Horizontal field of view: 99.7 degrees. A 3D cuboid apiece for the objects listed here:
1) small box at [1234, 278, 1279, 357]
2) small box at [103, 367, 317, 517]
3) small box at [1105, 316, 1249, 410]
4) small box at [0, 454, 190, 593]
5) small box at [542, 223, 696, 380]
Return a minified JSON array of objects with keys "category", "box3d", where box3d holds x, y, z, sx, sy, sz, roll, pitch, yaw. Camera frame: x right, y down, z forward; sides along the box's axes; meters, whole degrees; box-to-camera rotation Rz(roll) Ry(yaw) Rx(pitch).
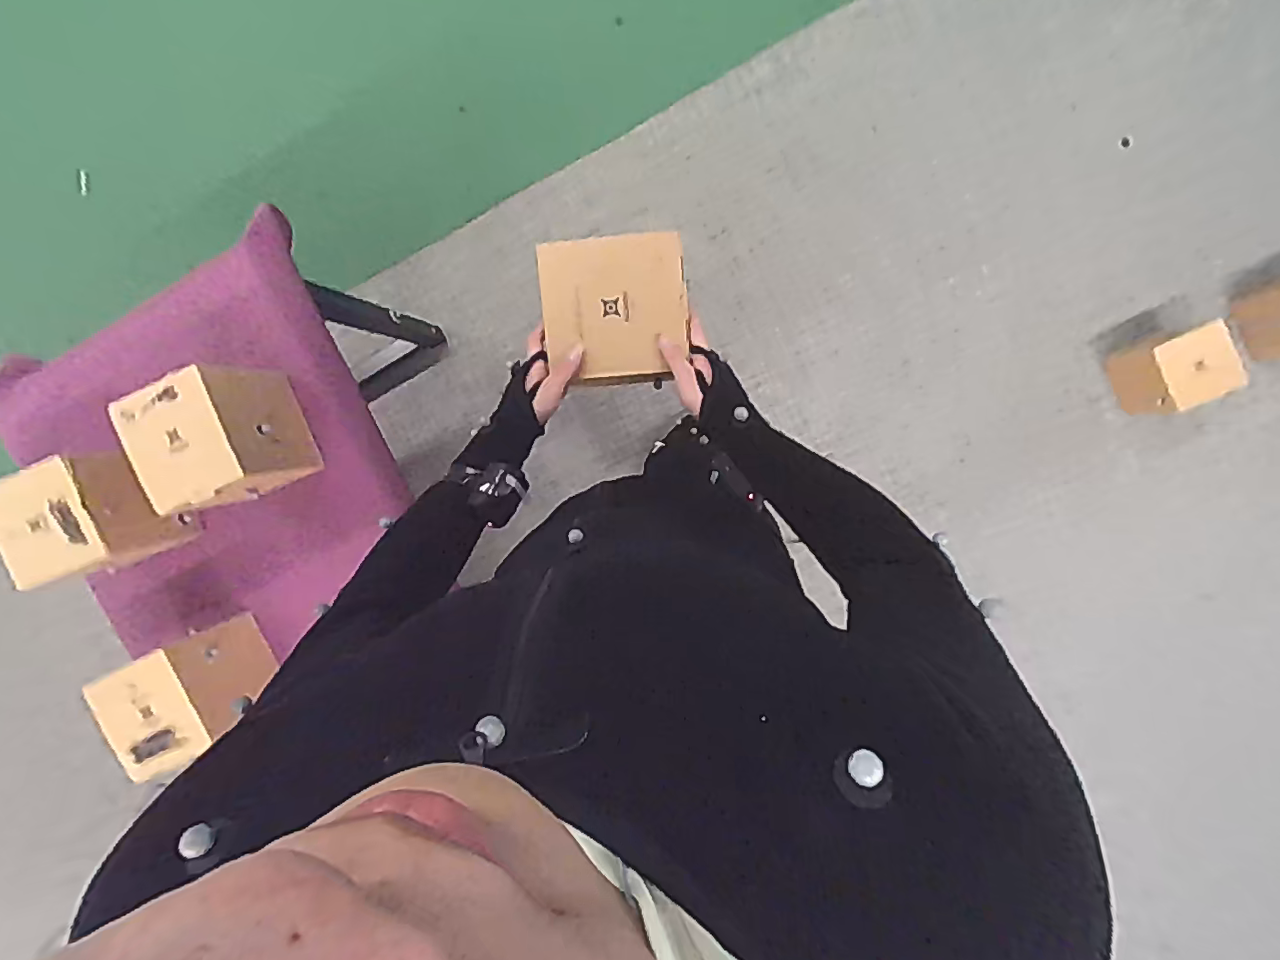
[{"category":"small box","box3d":[1.633,-0.419,1.319,0.168,0.176,0.179,-26,94,8]},{"category":"small box","box3d":[-0.656,-0.064,0.849,0.168,0.176,0.179,-21,95,8]},{"category":"small box","box3d":[1.341,-0.286,1.365,0.168,0.176,0.179,-27,94,8]},{"category":"small box","box3d":[-0.895,0.059,0.888,0.179,0.176,0.168,-20,94,8]},{"category":"small box","box3d":[-0.021,-0.223,0.716,0.179,0.176,0.168,-3,96,4]}]
